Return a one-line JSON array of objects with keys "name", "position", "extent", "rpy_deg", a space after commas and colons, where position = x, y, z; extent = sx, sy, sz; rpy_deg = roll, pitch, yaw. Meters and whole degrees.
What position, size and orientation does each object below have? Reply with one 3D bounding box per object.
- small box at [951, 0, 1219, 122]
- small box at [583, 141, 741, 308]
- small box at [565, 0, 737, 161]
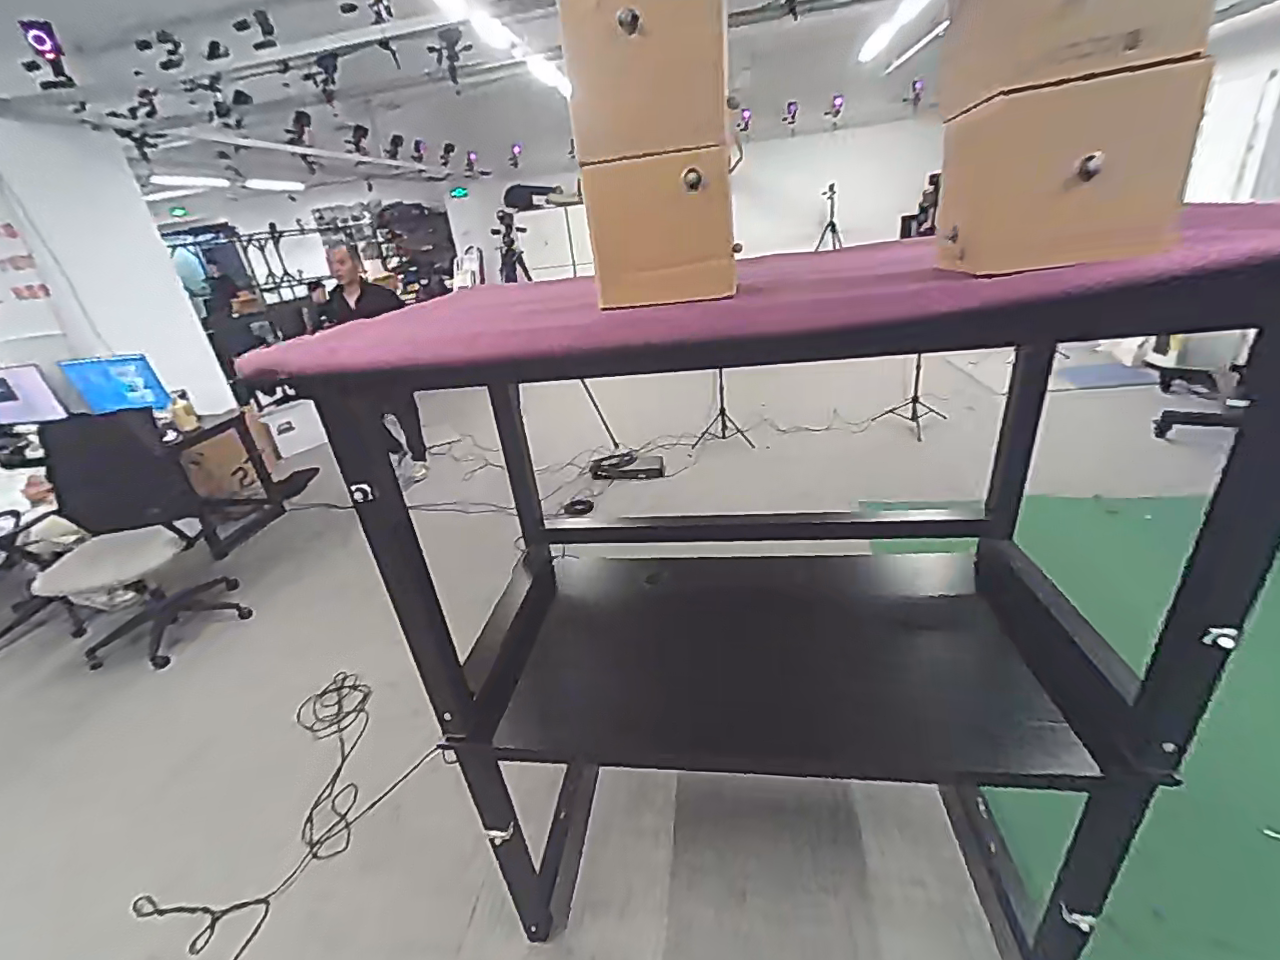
[{"name": "small box", "position": [0.426, -0.476, 0.531], "extent": [0.168, 0.176, 0.179], "rpy_deg": [-3, 24, 12]}, {"name": "small box", "position": [0.040, -0.326, 0.713], "extent": [0.179, 0.176, 0.168], "rpy_deg": [-1, 25, 12]}, {"name": "small box", "position": [0.024, -0.477, 0.649], "extent": [0.179, 0.176, 0.168], "rpy_deg": [0, 25, 11]}]
